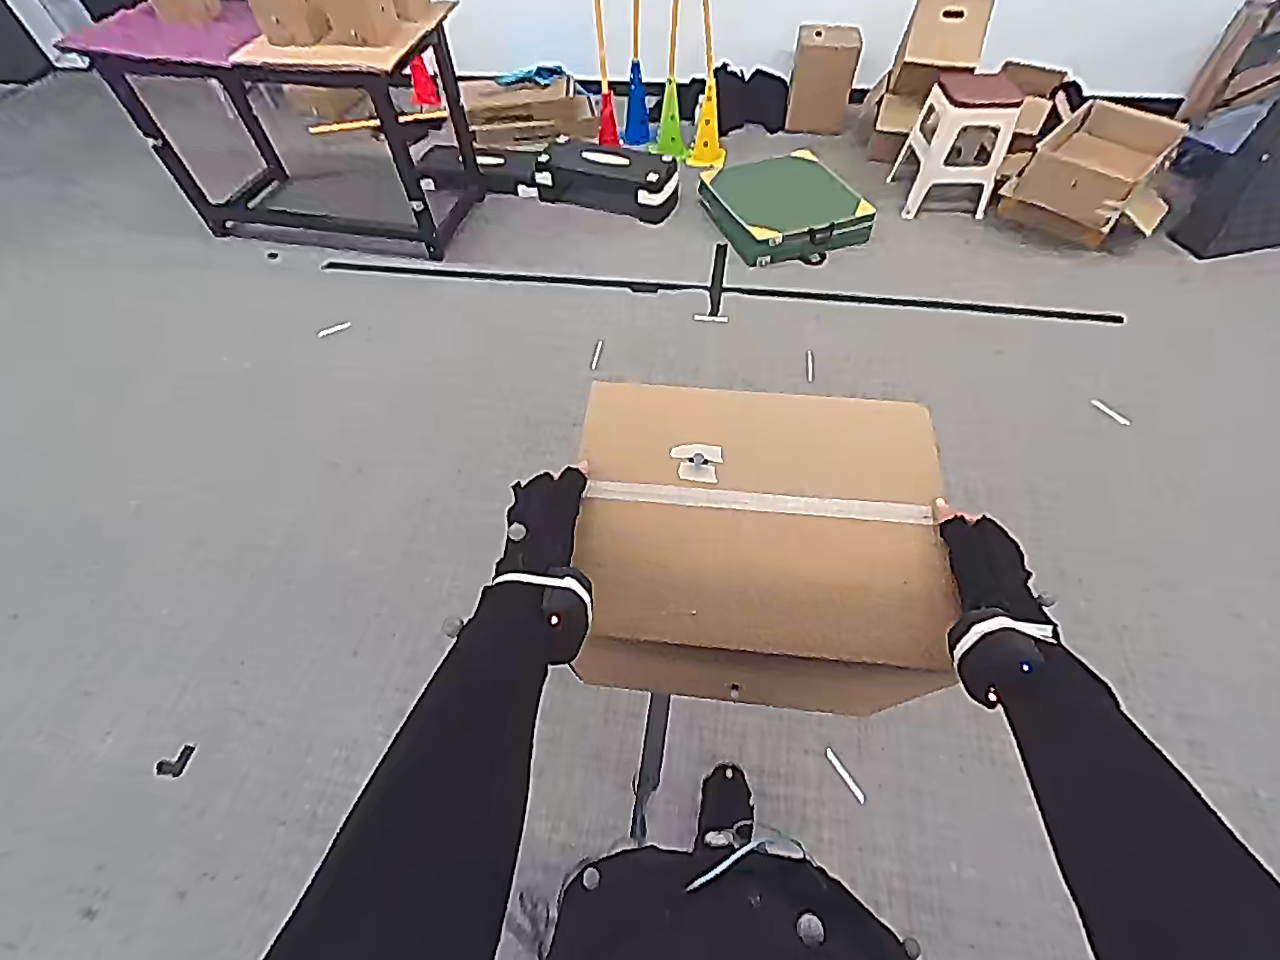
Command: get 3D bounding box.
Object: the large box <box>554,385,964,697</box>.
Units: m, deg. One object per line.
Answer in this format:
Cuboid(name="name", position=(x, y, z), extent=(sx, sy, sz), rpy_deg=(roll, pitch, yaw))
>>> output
Cuboid(name="large box", position=(0.134, 0.096, 0.727), extent=(0.408, 0.320, 0.320), rpy_deg=(4, 60, 6))
